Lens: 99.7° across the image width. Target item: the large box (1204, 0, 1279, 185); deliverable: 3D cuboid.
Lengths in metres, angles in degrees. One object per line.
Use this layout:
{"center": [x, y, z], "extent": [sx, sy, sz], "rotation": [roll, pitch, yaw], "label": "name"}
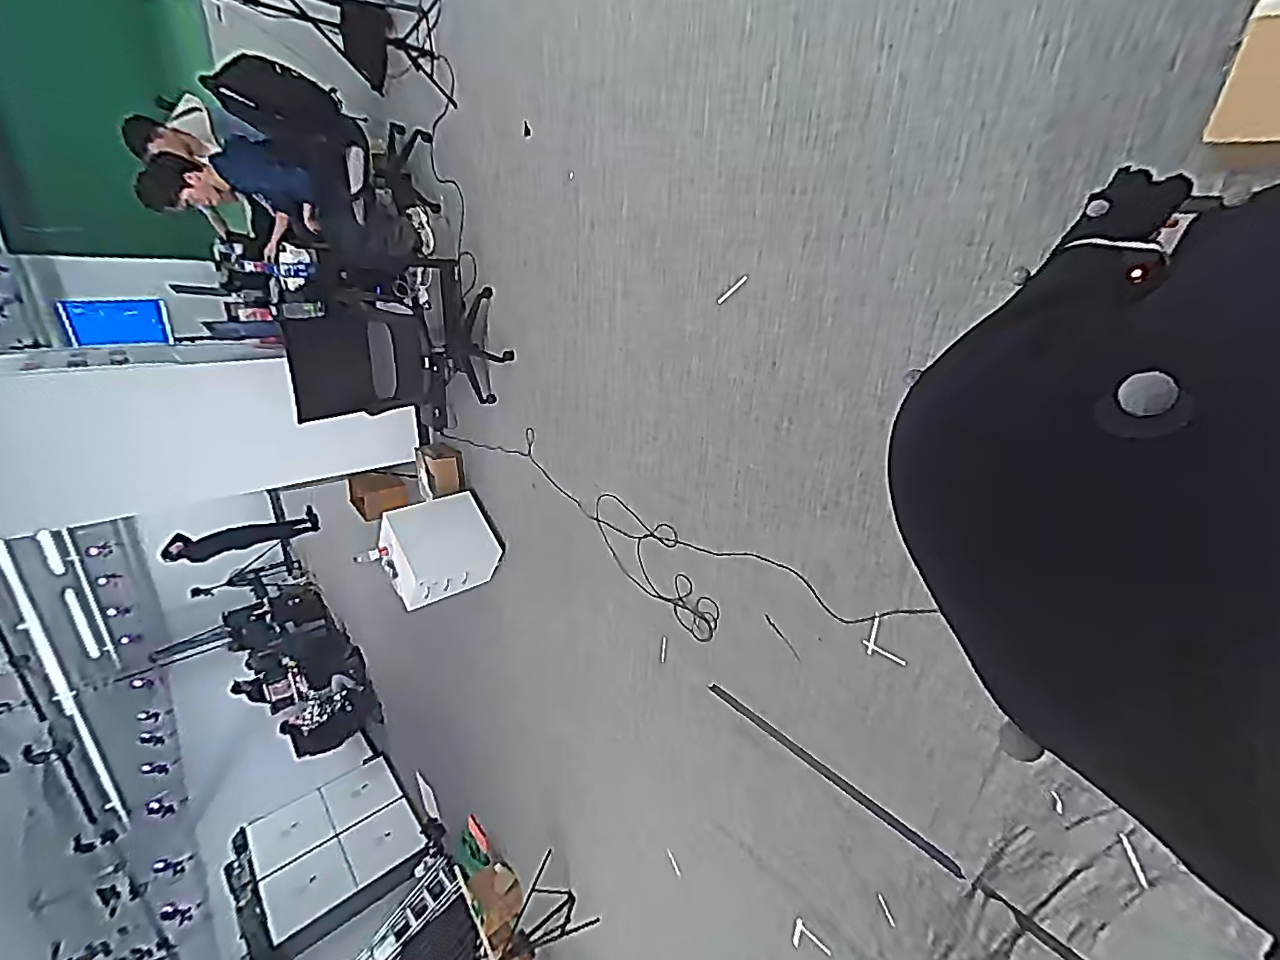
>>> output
{"center": [1.075, -0.582, 0.702], "extent": [0.408, 0.320, 0.320], "rotation": [27, 122, 40], "label": "large box"}
